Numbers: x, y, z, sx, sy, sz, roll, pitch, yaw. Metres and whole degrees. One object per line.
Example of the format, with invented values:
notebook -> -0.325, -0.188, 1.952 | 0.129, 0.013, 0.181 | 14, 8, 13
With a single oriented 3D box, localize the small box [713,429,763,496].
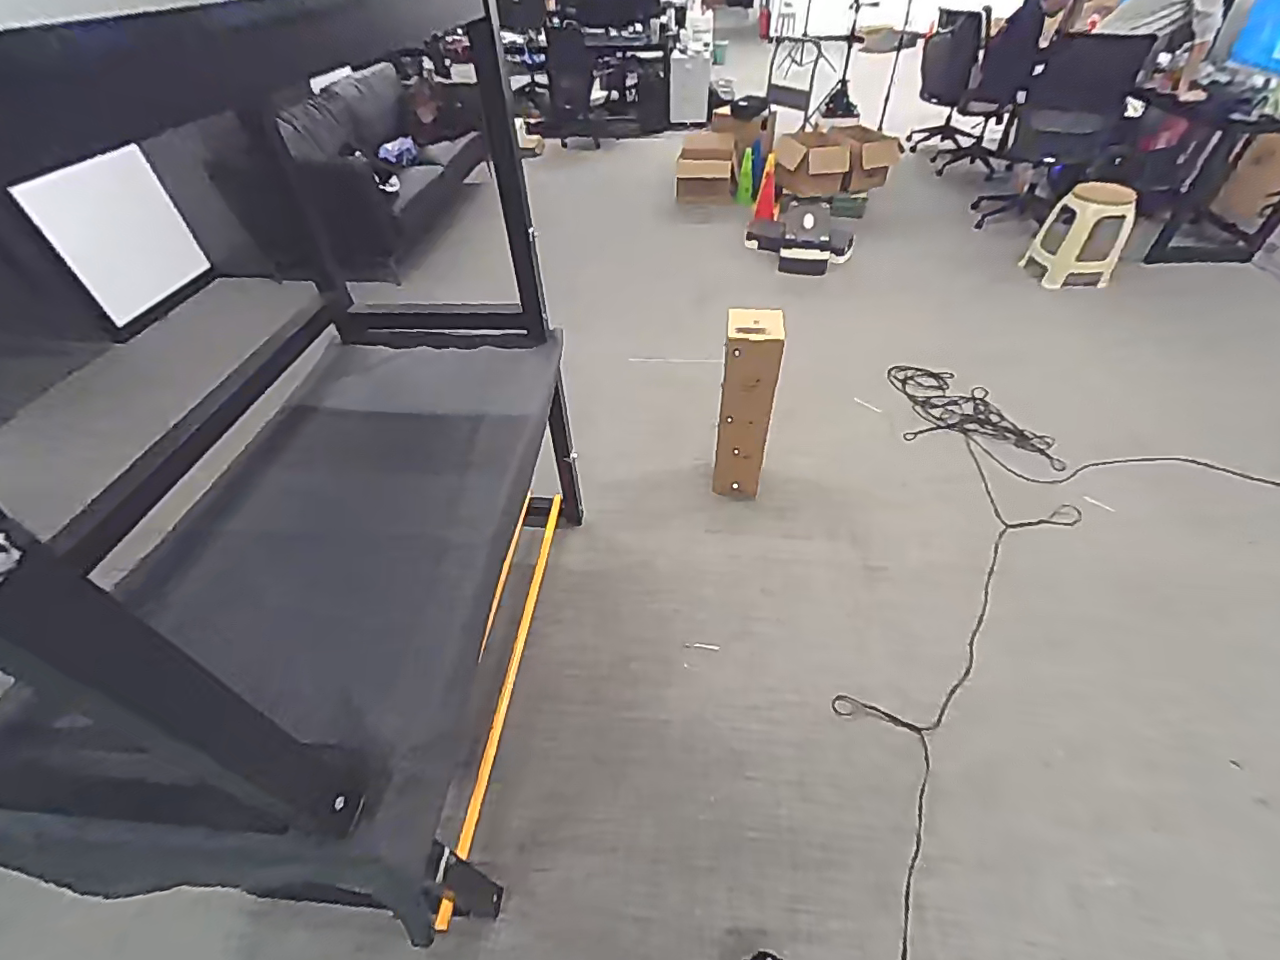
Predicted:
small box -> 0.367, -0.066, 2.031 | 0.168, 0.176, 0.179 | 6, 46, 10

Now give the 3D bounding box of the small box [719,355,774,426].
small box -> 0.353, -0.296, 1.800 | 0.168, 0.176, 0.179 | 5, 45, 7
